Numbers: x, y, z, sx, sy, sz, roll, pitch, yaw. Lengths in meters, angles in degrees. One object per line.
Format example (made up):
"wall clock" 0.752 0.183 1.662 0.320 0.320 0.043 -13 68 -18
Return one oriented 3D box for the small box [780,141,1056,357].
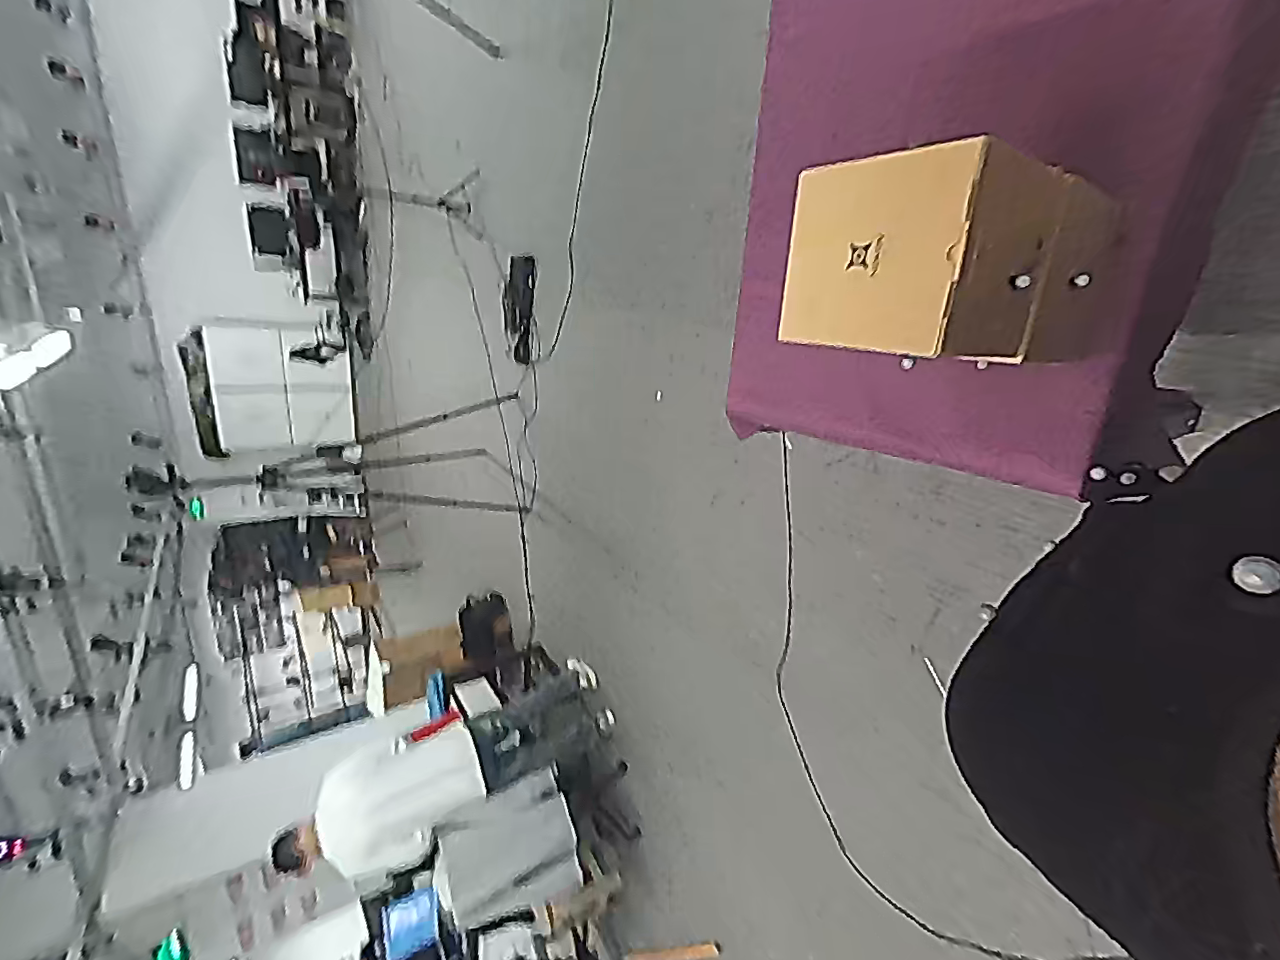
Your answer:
"small box" 0.274 -0.217 0.549 0.179 0.176 0.168 24 116 48
